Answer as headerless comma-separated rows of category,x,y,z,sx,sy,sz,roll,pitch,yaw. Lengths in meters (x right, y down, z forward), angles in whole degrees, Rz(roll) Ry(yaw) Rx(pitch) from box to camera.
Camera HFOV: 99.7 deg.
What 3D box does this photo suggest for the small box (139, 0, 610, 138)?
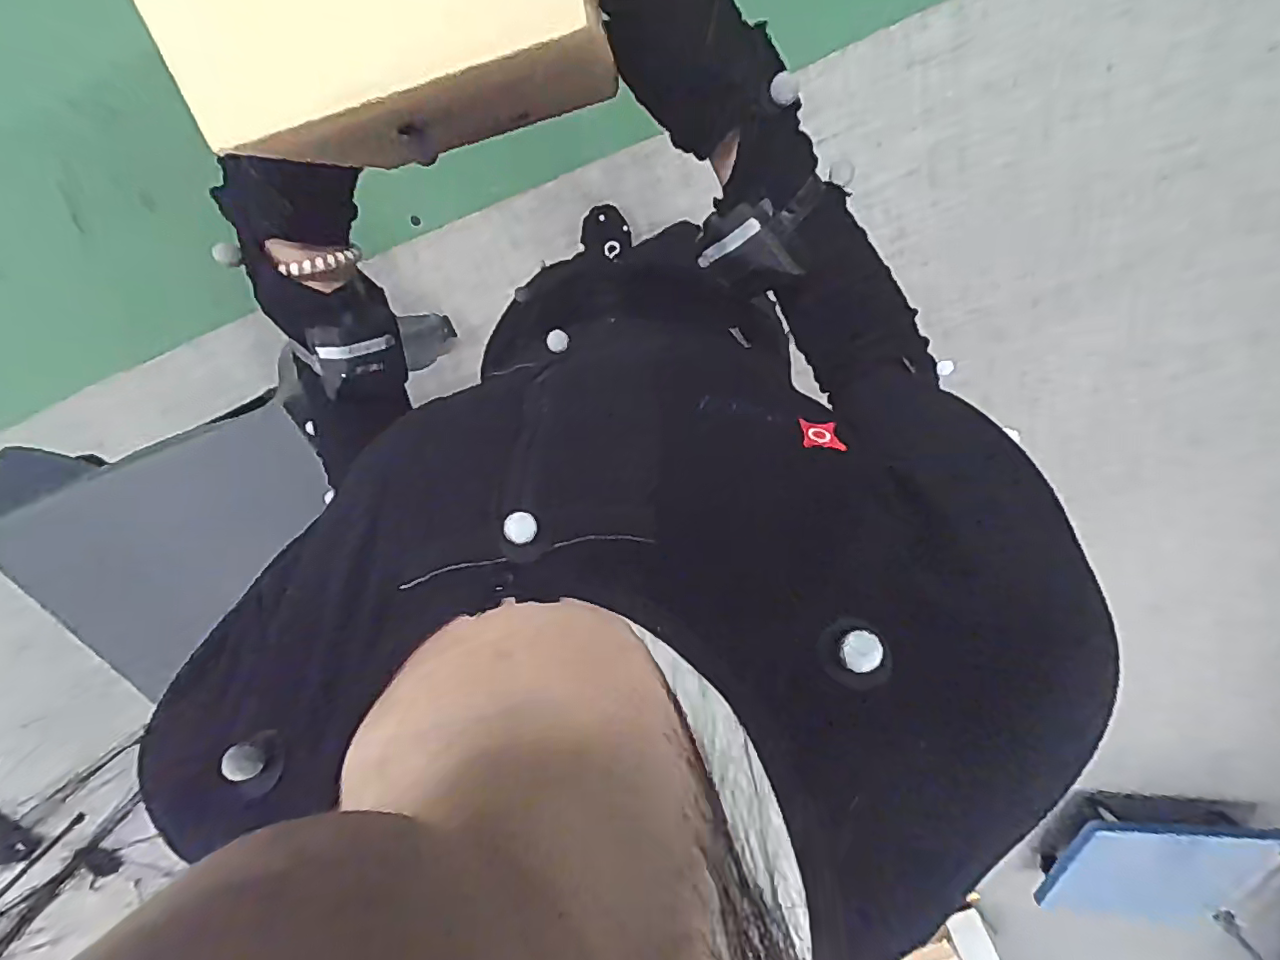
small box,-0.116,-0.273,0.242,0.168,0.176,0.179,-12,116,8
